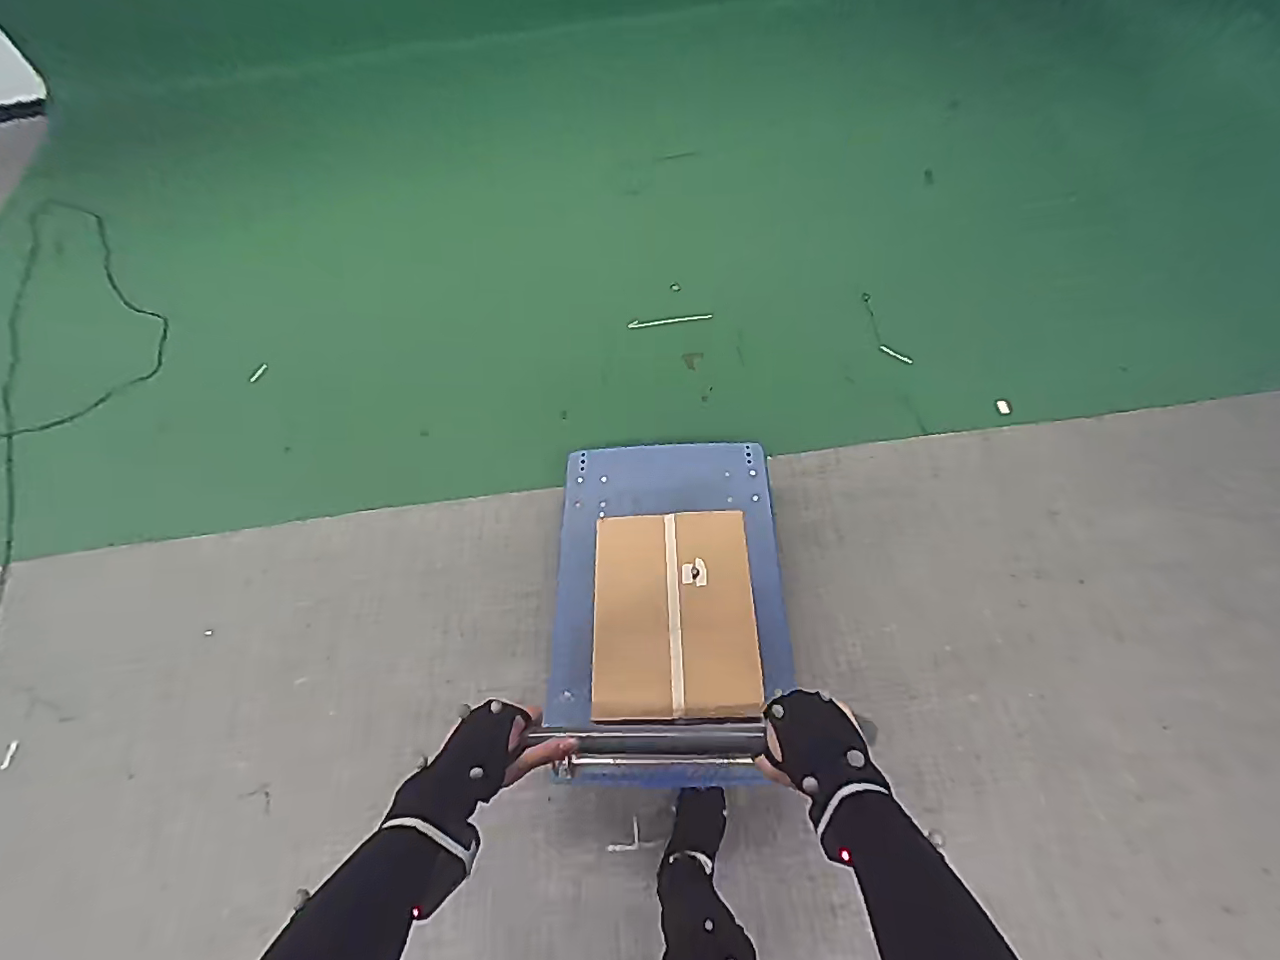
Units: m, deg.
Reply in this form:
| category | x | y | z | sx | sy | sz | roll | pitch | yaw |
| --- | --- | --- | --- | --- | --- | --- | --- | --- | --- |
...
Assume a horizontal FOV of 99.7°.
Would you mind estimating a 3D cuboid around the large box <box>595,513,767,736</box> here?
| category | x | y | z | sx | sy | sz | roll | pitch | yaw |
| --- | --- | --- | --- | --- | --- | --- | --- | --- | --- |
| large box | 0.083 | 0.326 | 1.188 | 0.320 | 0.320 | 0.408 | -3 | 60 | 4 |
